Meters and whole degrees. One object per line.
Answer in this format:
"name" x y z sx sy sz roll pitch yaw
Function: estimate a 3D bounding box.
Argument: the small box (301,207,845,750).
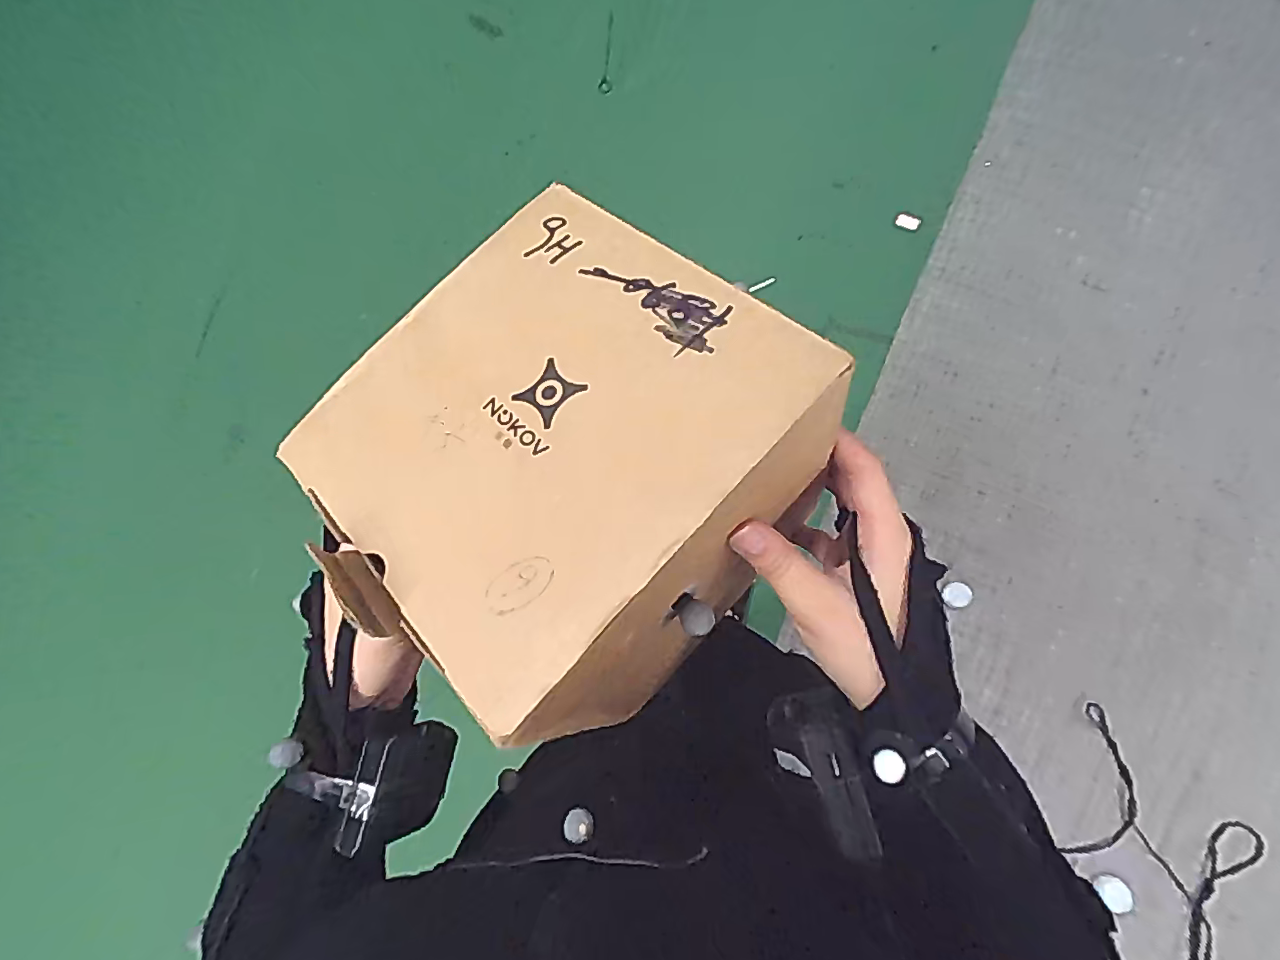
"small box" -0.020 0.008 0.289 0.168 0.176 0.179 41 83 23
